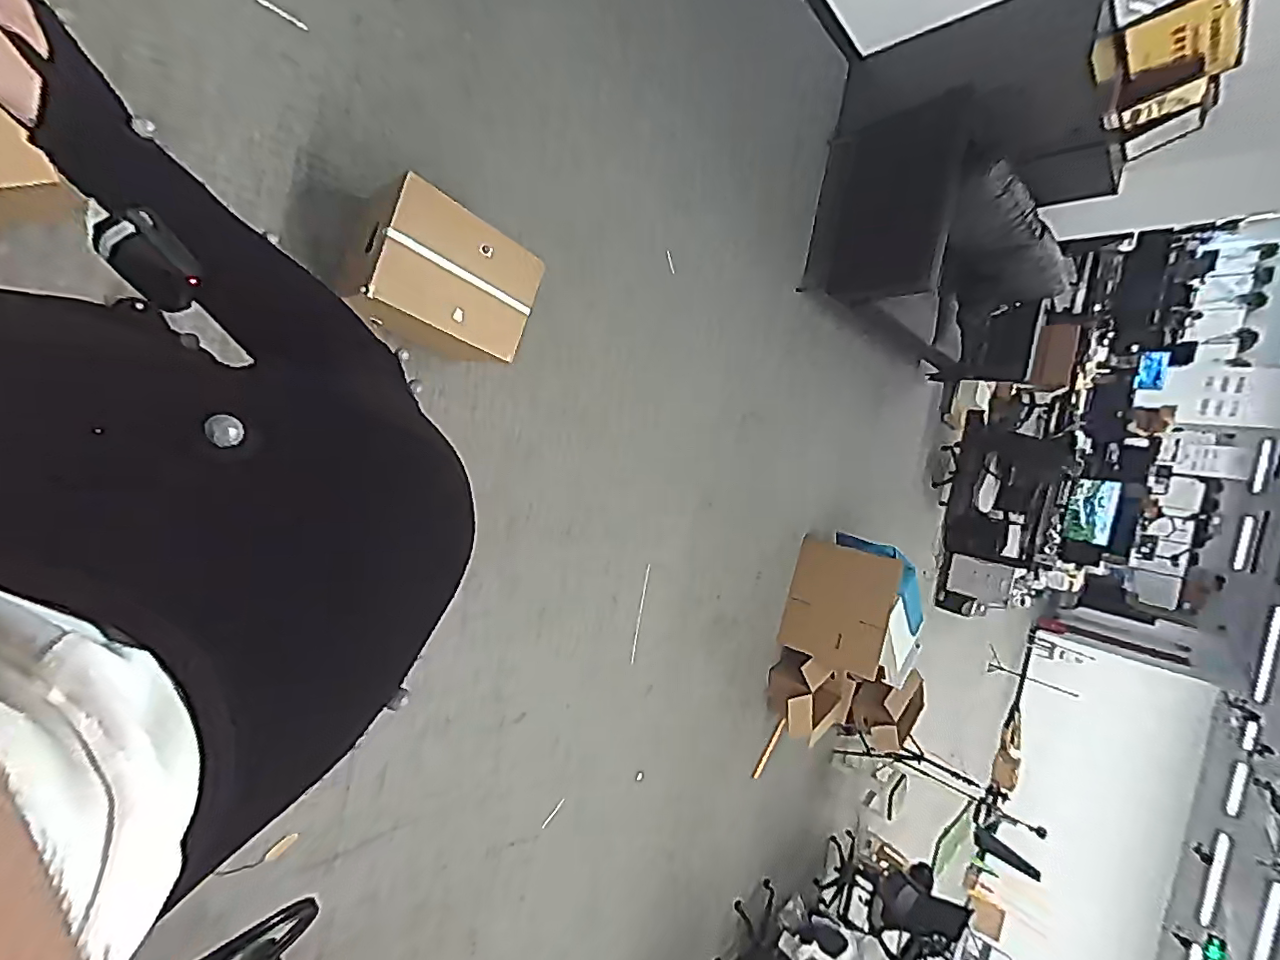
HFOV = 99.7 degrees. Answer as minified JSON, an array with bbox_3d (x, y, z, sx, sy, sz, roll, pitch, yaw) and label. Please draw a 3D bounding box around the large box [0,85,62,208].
[{"bbox_3d":[-1.234,-0.577,0.812,0.408,0.320,0.320,-33,121,-34],"label":"large box"}]
